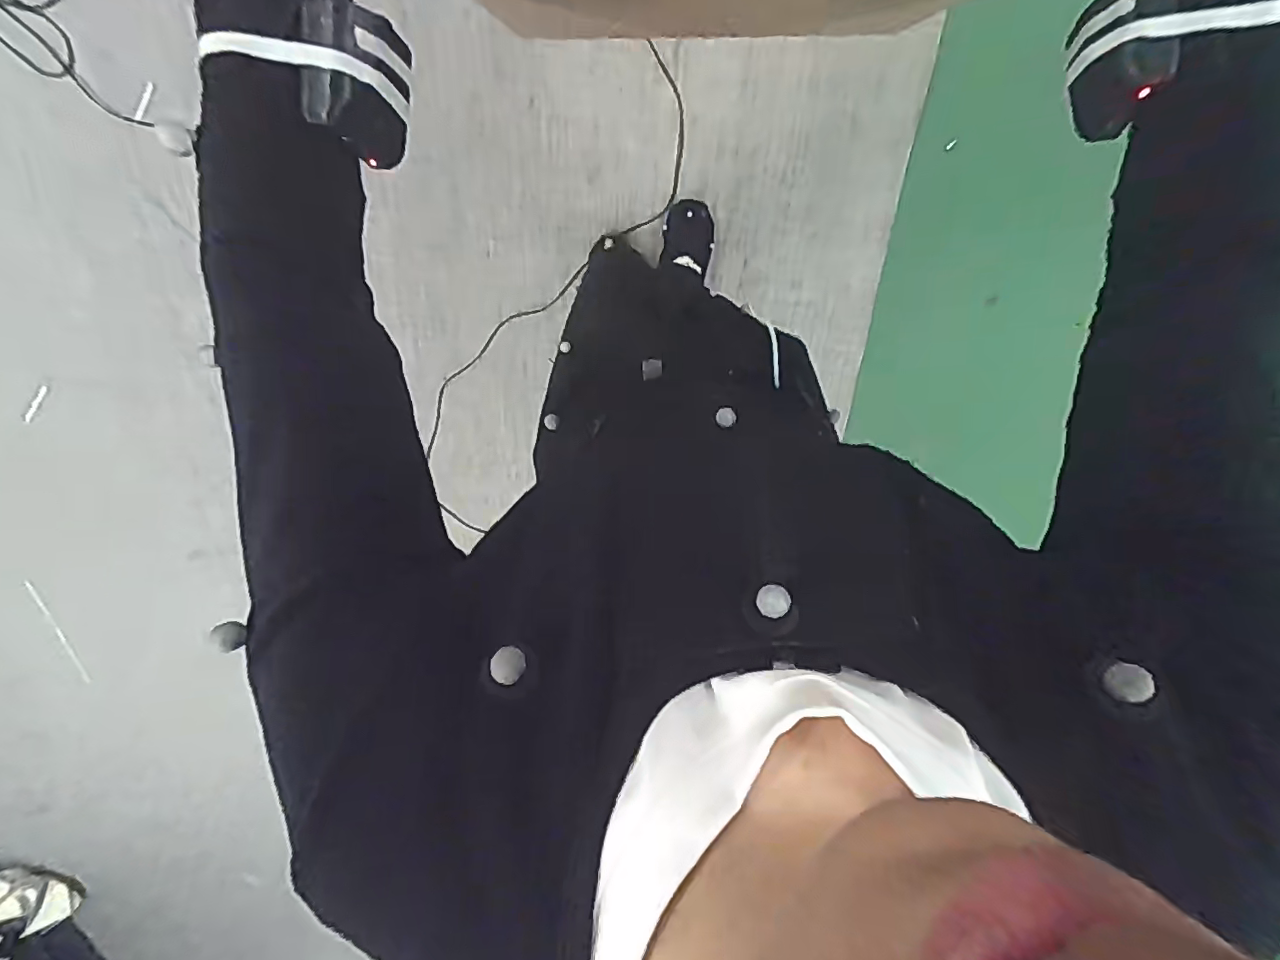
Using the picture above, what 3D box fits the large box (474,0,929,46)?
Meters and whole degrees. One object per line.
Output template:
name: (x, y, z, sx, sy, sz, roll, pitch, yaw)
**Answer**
large box: (0.057, -0.526, 0.368, 0.408, 0.320, 0.320, 0, 121, 2)
